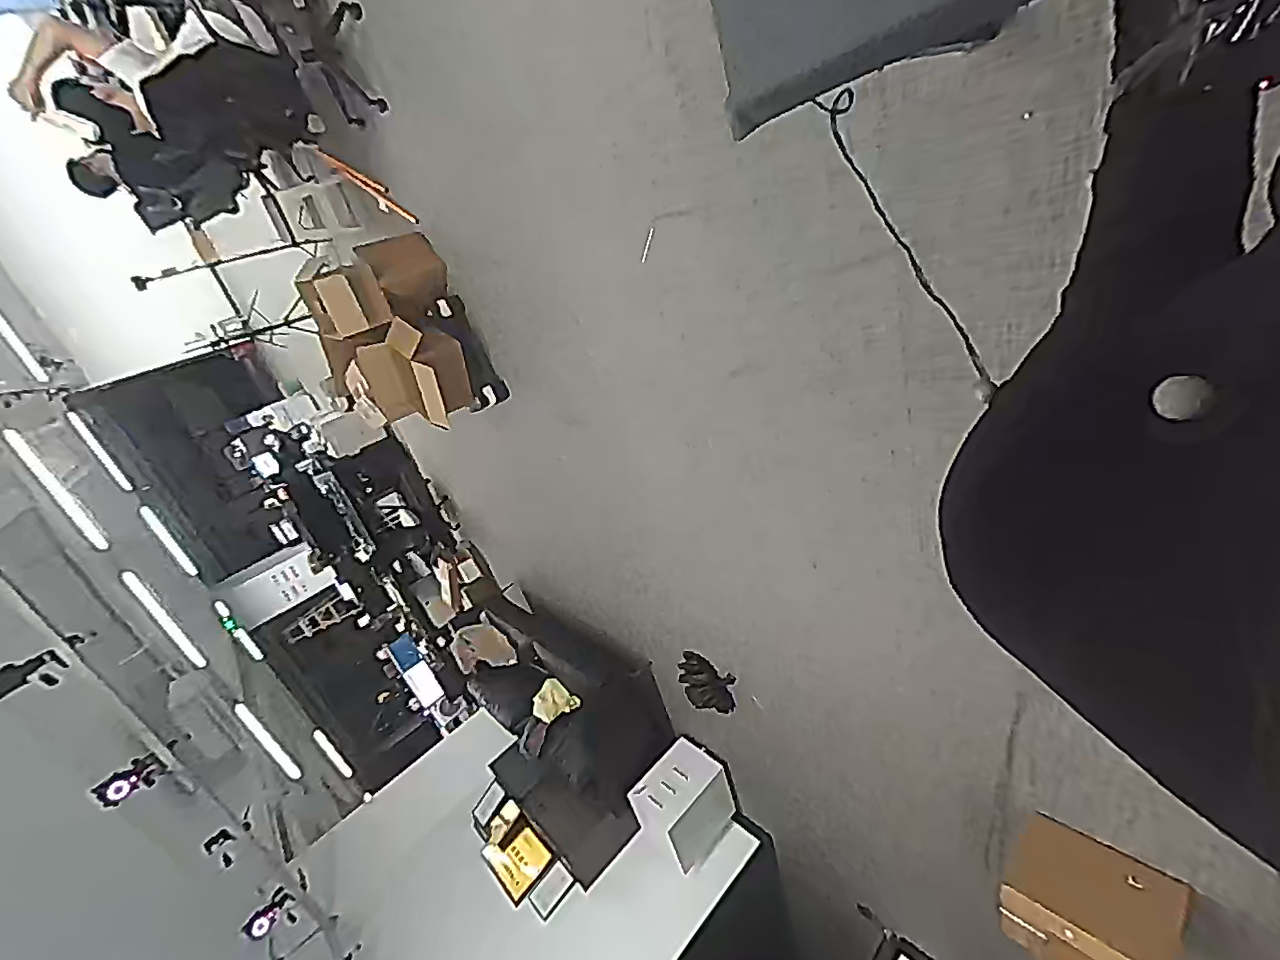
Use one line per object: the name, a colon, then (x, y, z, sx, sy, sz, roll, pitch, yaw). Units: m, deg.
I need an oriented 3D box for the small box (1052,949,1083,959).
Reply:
small box: (1.307, 1.553, 1.602, 0.179, 0.176, 0.168, 19, 128, 45)
